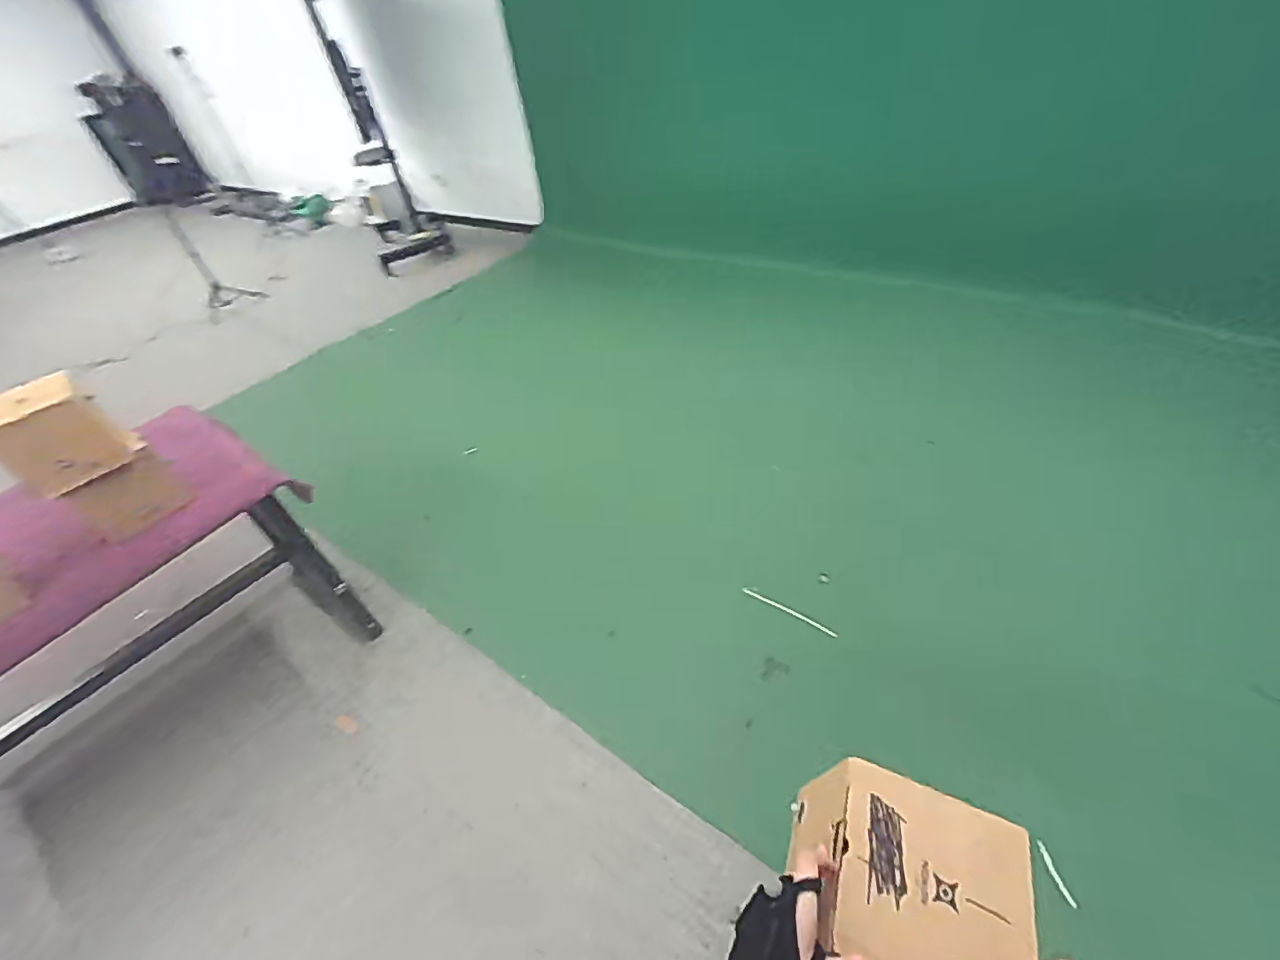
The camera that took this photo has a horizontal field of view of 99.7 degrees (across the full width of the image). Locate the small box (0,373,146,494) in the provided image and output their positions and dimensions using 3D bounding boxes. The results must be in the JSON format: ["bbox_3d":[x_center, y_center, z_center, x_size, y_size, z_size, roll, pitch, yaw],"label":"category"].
[{"bbox_3d":[-1.204,-0.097,1.143,0.179,0.176,0.168,30,56,36],"label":"small box"}]

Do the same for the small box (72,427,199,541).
[{"bbox_3d":[-1.189,0.008,1.268,0.168,0.176,0.179,22,50,32],"label":"small box"}]

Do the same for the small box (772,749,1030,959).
[{"bbox_3d":[0.248,0.407,0.543,0.179,0.176,0.168,20,50,9],"label":"small box"}]
